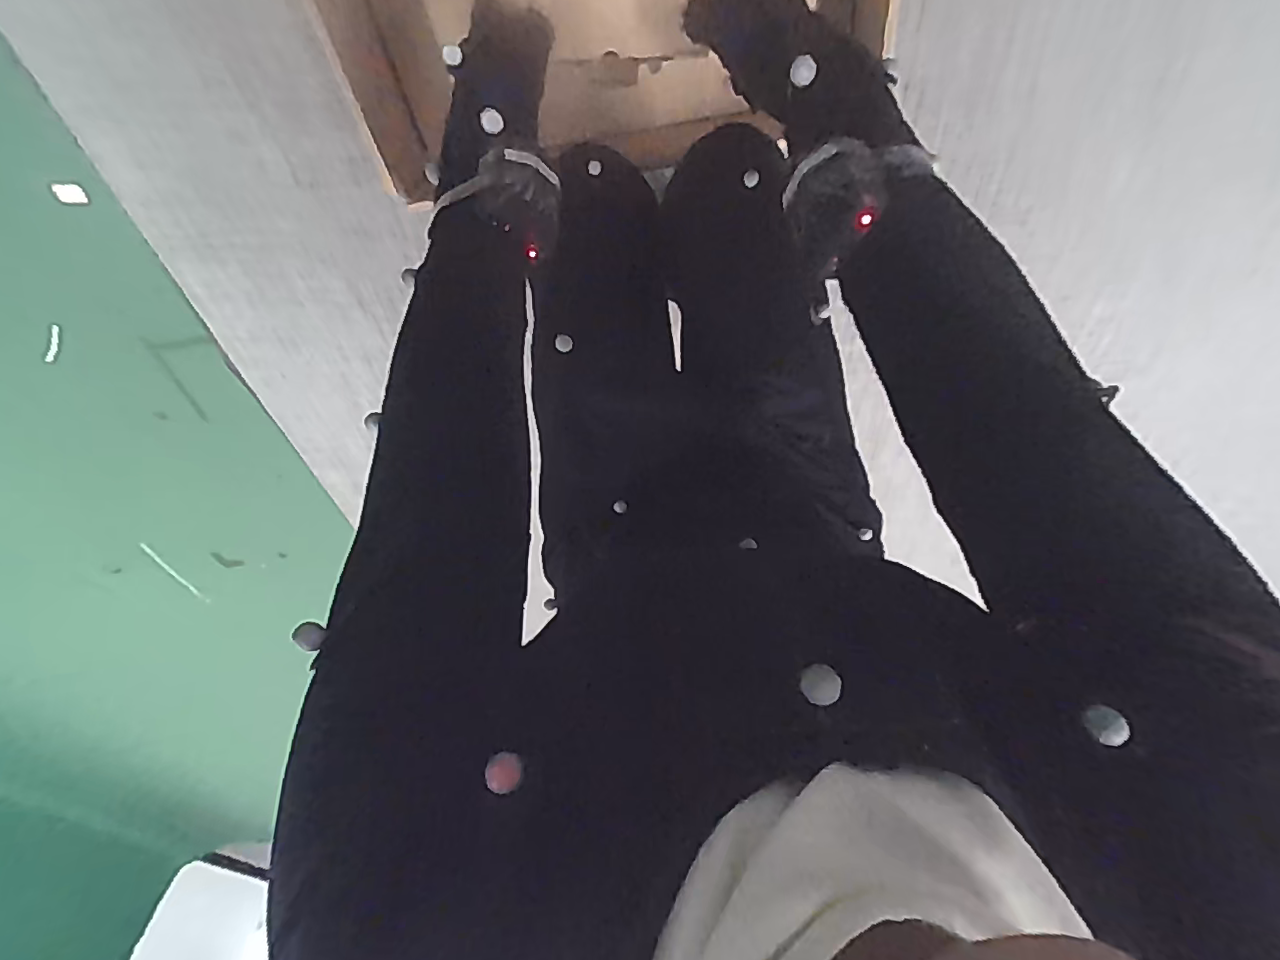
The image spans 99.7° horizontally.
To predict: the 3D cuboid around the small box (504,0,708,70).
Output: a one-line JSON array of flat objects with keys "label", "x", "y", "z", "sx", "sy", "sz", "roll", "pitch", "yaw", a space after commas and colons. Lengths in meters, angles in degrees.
[{"label": "small box", "x": -0.025, "y": -0.466, "z": 0.454, "sx": 0.168, "sy": 0.176, "sz": 0.179, "roll": -1, "pitch": 131, "yaw": 3}]
